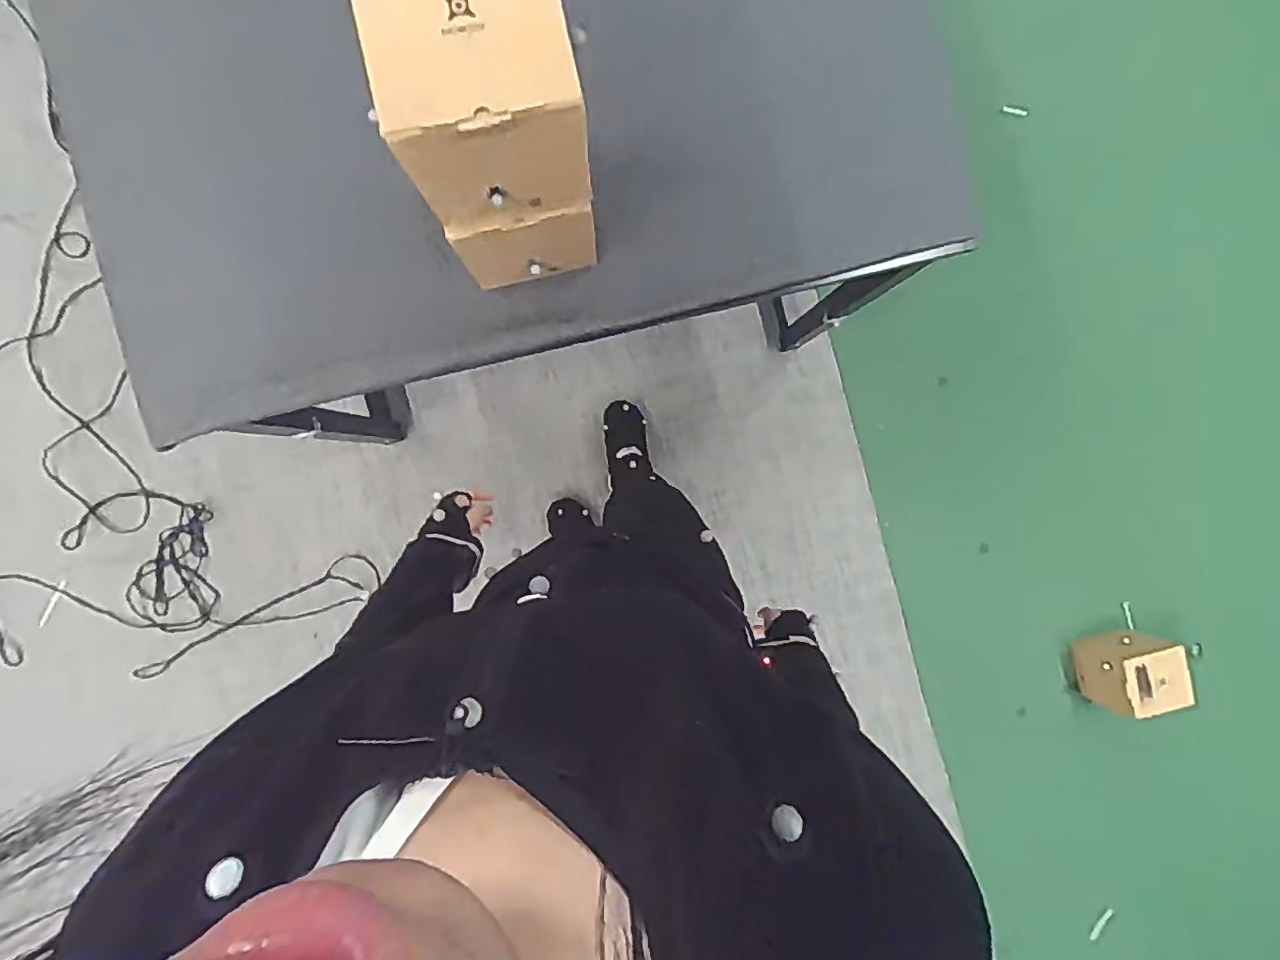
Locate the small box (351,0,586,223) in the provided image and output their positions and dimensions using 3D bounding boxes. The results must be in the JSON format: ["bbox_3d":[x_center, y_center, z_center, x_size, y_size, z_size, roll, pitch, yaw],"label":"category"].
[{"bbox_3d":[-0.149,-0.375,0.506,0.168,0.176,0.179,-13,92,-3],"label":"small box"}]

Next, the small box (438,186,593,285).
[{"bbox_3d":[-0.157,-0.369,0.668,0.168,0.176,0.179,-14,91,-2],"label":"small box"}]
